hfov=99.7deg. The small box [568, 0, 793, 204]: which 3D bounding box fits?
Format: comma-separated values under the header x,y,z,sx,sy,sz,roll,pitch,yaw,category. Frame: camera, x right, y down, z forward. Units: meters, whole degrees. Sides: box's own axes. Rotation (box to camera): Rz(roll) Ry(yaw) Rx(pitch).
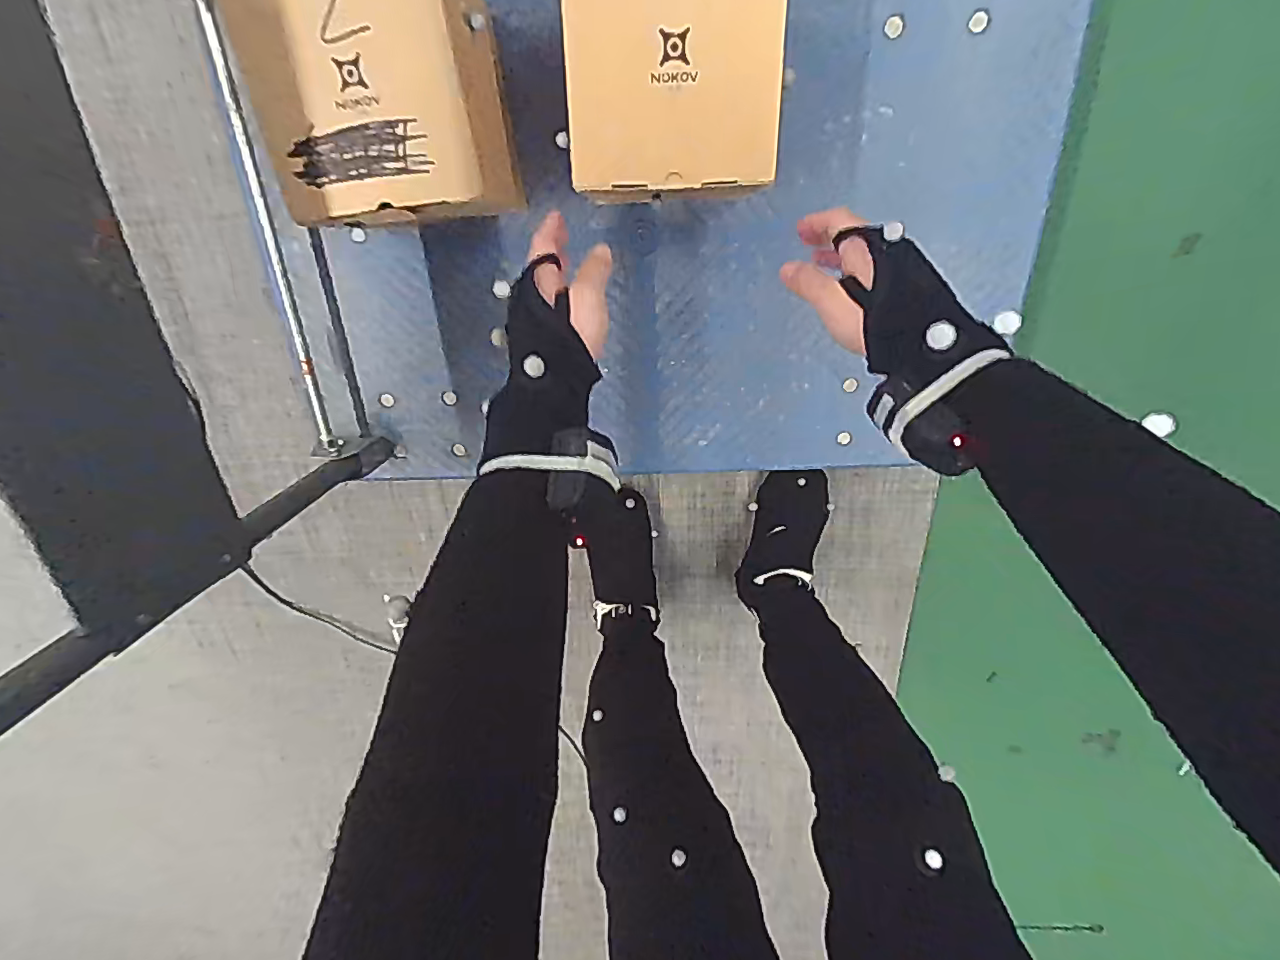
x,y,z,sx,sy,sz,roll,pitch,yaw,category
0.029,-0.347,0.474,0.168,0.176,0.179,-1,115,1,small box
